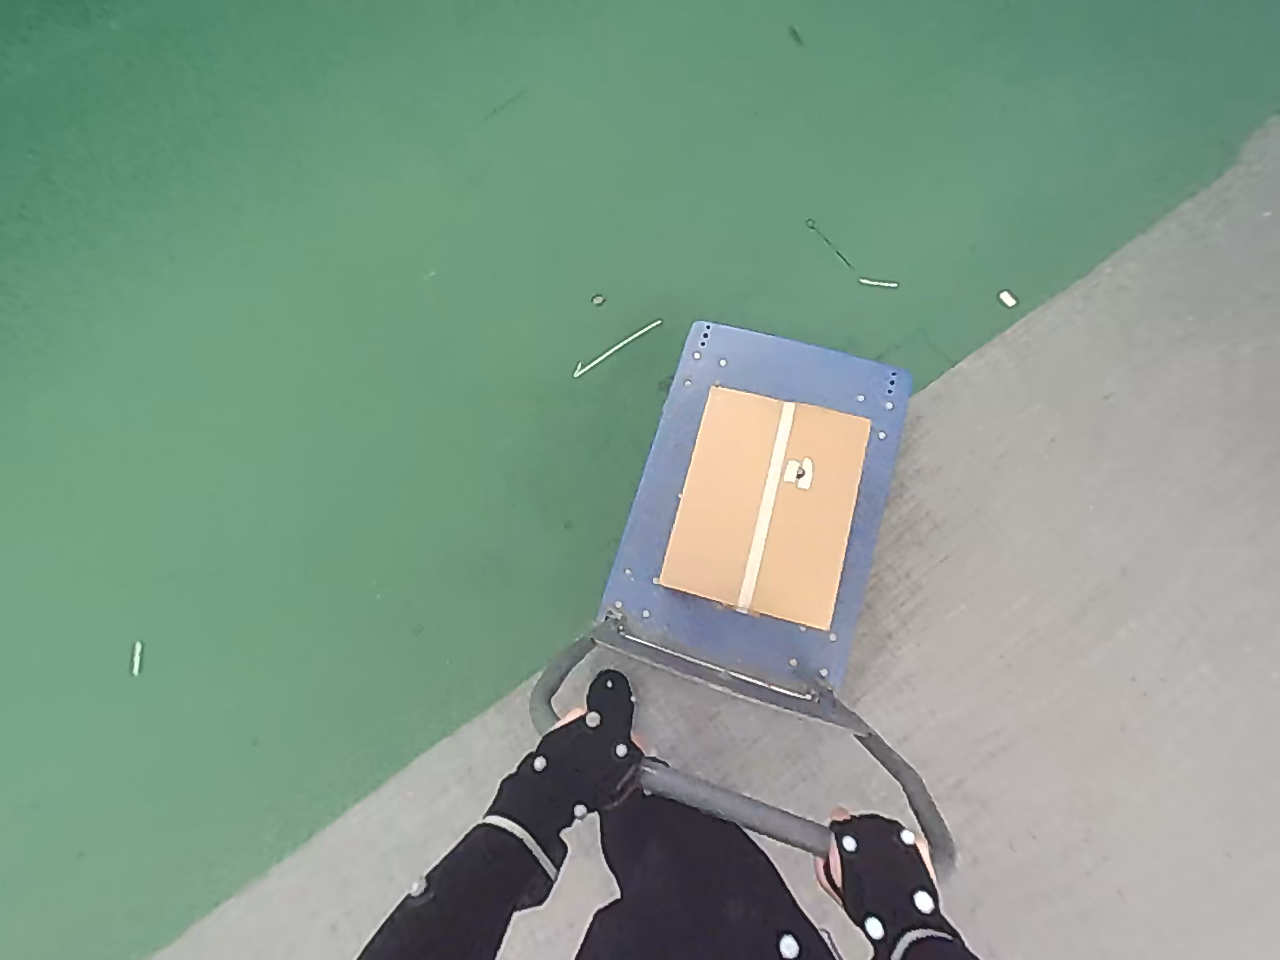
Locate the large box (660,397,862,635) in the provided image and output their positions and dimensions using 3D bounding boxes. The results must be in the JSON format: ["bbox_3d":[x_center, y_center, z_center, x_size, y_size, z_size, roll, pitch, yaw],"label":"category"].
[{"bbox_3d":[0.244,0.089,1.156,0.320,0.320,0.408,14,79,8],"label":"large box"}]
